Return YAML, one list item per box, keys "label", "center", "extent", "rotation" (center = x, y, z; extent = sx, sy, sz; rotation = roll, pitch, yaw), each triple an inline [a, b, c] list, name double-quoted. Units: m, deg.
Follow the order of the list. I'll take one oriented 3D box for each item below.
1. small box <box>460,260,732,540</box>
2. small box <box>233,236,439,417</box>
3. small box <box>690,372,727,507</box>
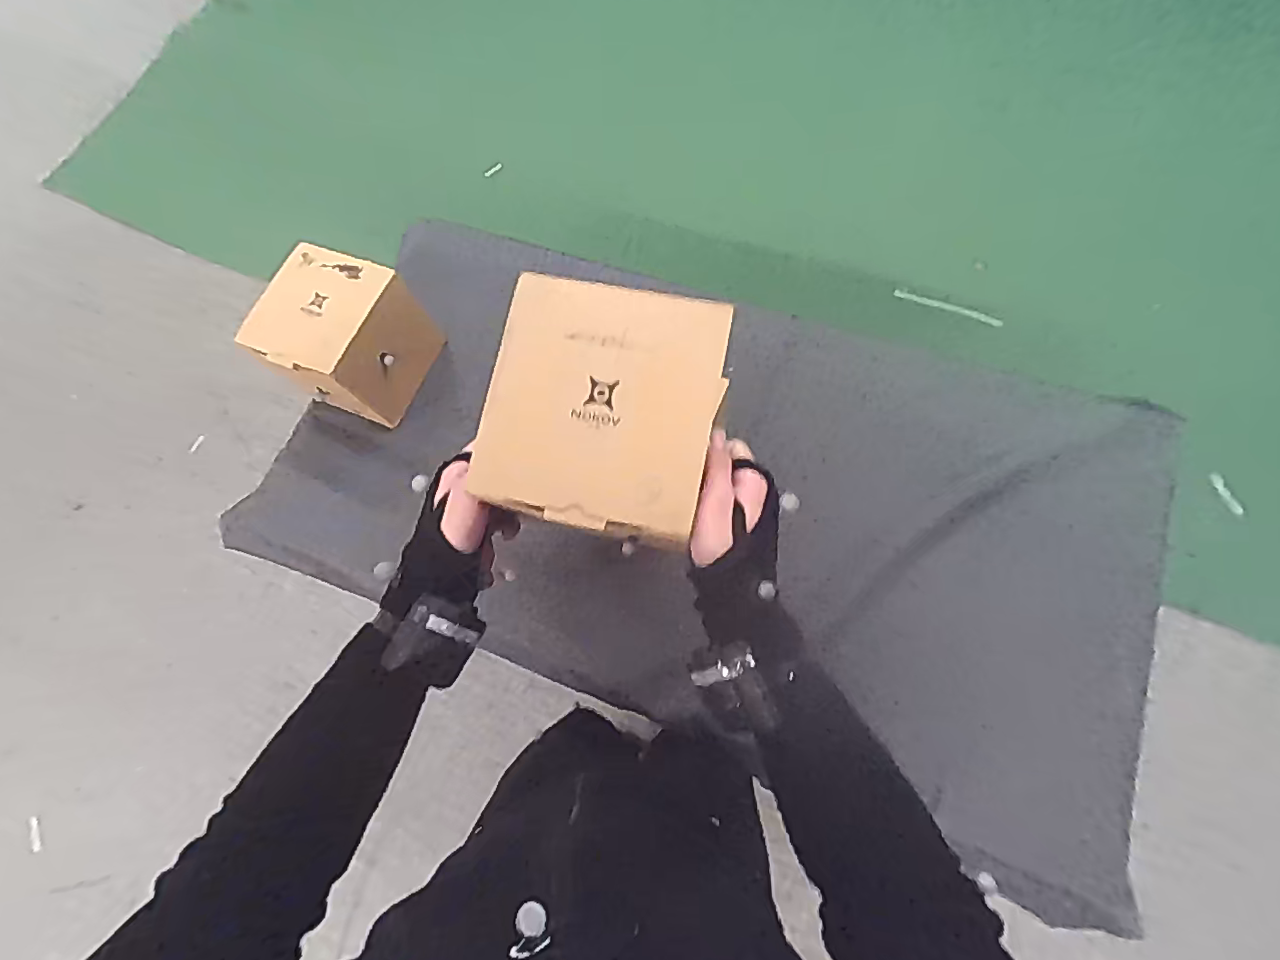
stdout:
- label: "small box"
  center: [-0.026, -0.051, 0.461]
  extent: [0.168, 0.176, 0.179]
  rotation: [11, 79, 4]
- label: "small box"
  center: [-0.430, -0.215, 0.799]
  extent: [0.168, 0.176, 0.179]
  rotation: [20, 77, 10]
- label: "small box"
  center: [0.004, -0.050, 0.702]
  extent: [0.168, 0.176, 0.179]
  rotation: [22, 75, 12]
